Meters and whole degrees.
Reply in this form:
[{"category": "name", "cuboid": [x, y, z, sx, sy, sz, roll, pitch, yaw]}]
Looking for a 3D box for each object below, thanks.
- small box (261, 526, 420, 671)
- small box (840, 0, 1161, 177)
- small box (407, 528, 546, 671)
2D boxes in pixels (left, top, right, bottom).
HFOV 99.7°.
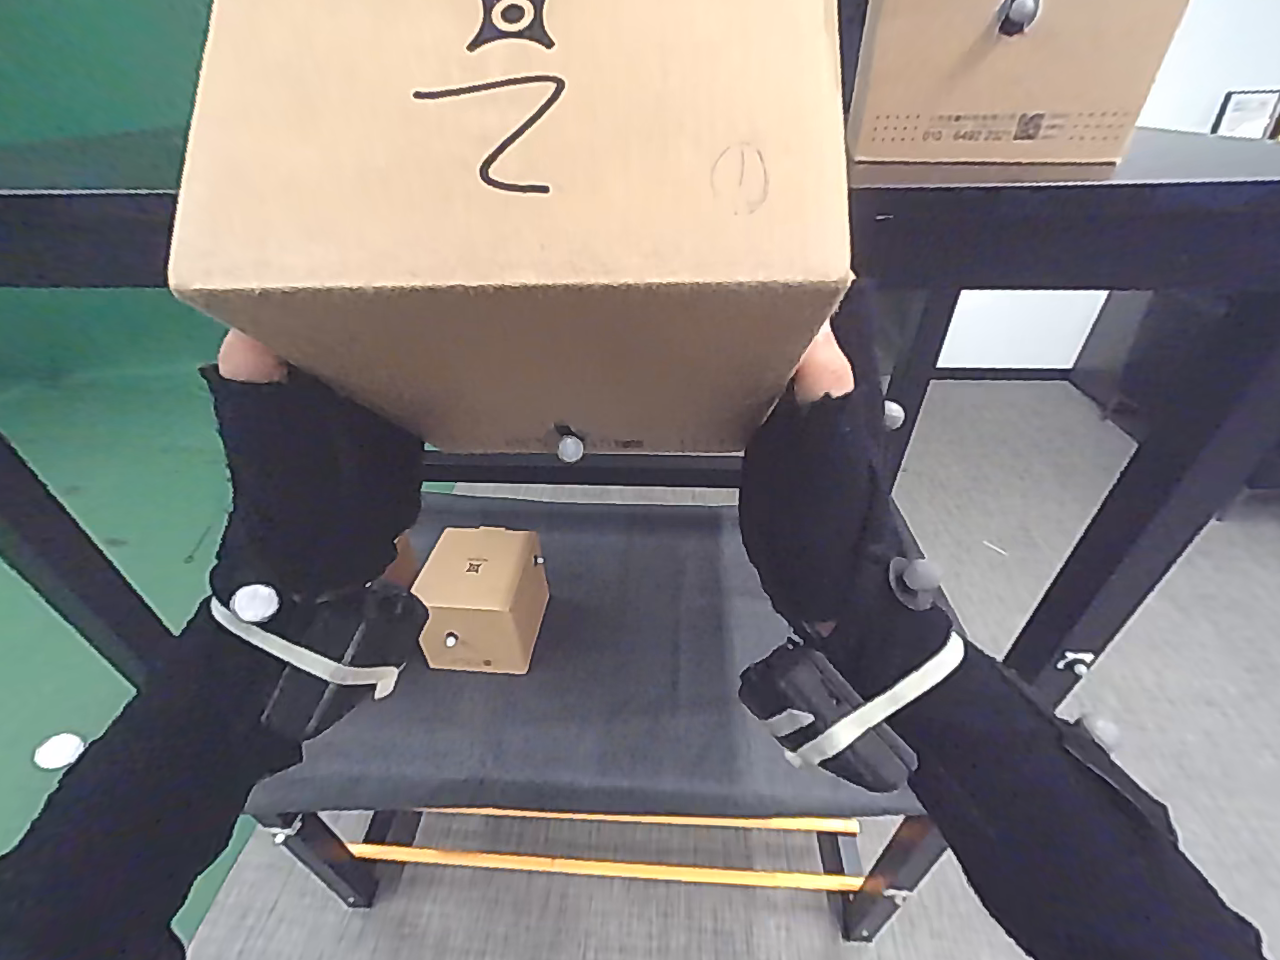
[{"category": "small box", "cuboid": [-0.491, 0.200, 0.929, 0.168, 0.176, 0.179, 2, 37, 3]}, {"category": "small box", "cuboid": [0.251, -0.330, 0.400, 0.168, 0.176, 0.179, 8, 37, 12]}, {"category": "small box", "cuboid": [-0.263, 0.204, 0.923, 0.168, 0.176, 0.179, 2, 36, 4]}]
